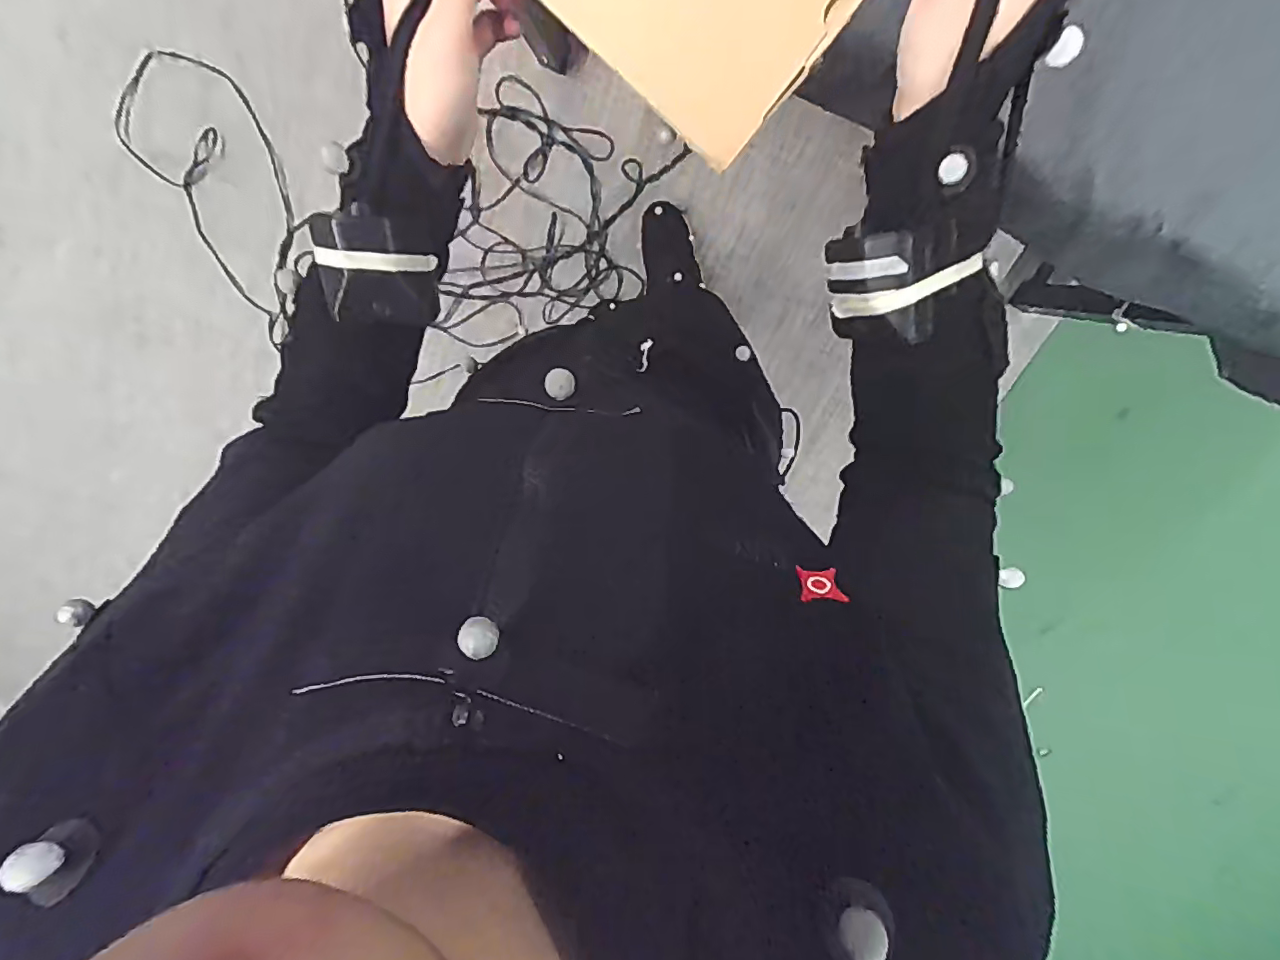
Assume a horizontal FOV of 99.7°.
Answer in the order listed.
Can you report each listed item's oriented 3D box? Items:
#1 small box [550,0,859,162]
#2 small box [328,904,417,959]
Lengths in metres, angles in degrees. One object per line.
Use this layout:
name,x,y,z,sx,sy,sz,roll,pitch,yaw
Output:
small box,0.041,-0.313,0.293,0.179,0.176,0.168,34,127,-16
small box,-0.676,1.191,1.323,0.168,0.176,0.179,30,111,-7
